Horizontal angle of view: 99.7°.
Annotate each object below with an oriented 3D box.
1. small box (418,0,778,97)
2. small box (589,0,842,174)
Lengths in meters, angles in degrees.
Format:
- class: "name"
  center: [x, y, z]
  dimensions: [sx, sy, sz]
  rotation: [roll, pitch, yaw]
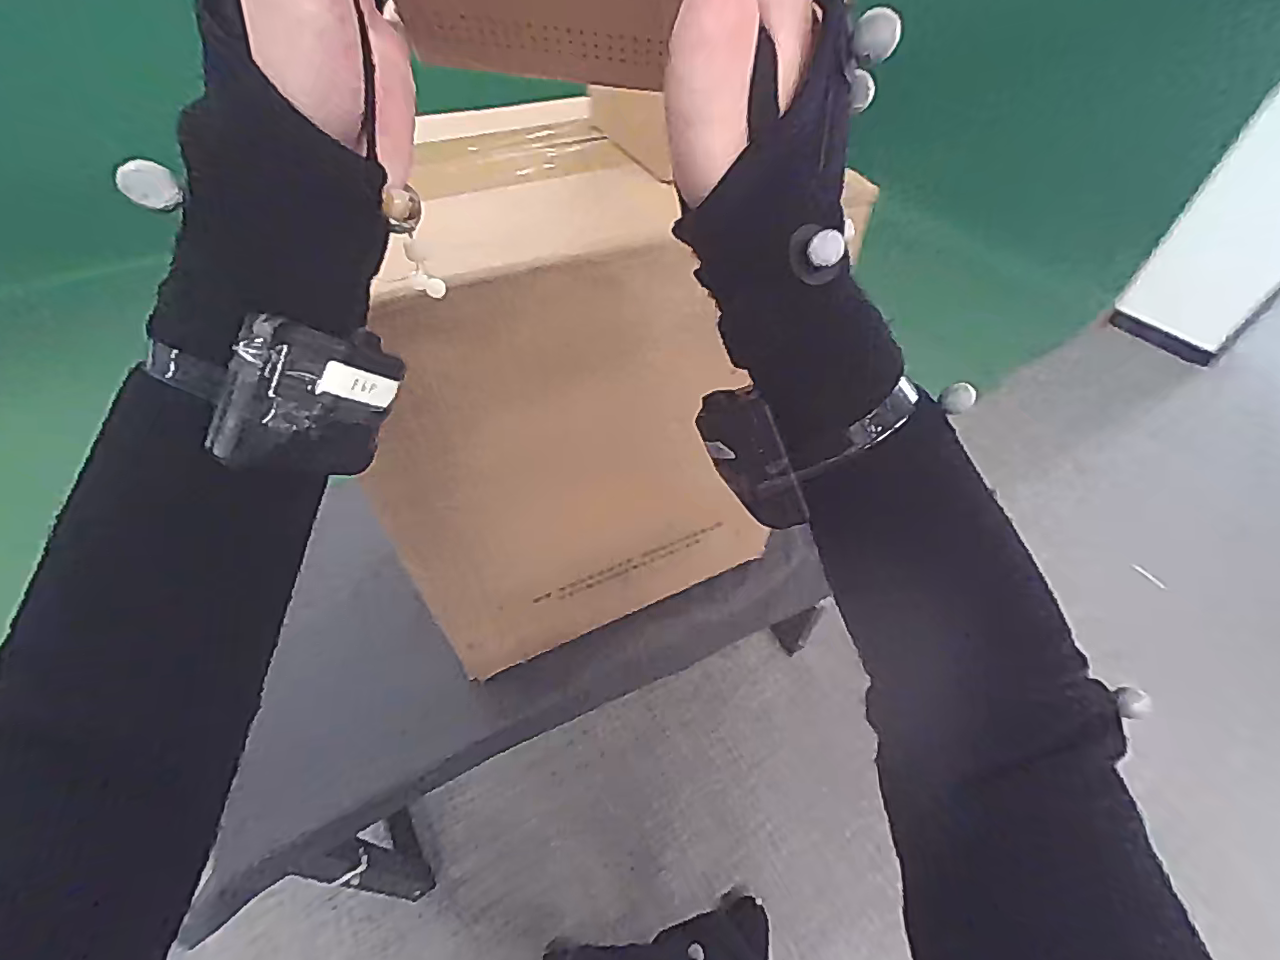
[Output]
- class: "small box"
  center: [-0.013, -0.295, 0.214]
  dimensions: [0.179, 0.176, 0.168]
  rotation: [7, 87, -2]
- class: "small box"
  center: [0.056, -0.410, 0.500]
  dimensions: [0.168, 0.176, 0.179]
  rotation: [-20, 56, -19]
